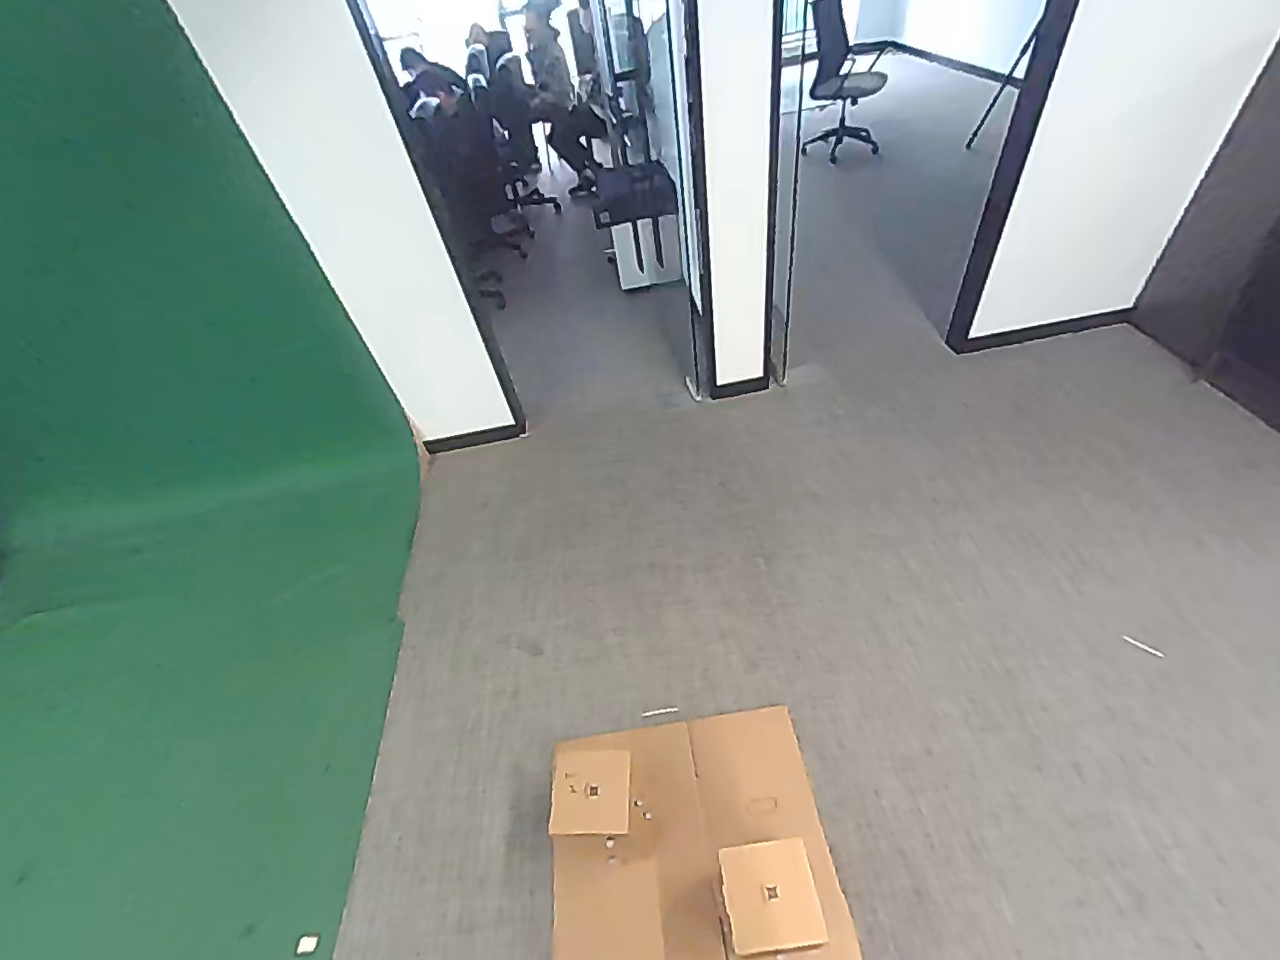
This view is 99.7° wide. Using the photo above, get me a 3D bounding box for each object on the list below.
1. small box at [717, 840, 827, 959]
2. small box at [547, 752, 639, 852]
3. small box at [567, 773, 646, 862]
[{"bbox_3d":[0.257,0.845,1.088,0.179,0.176,0.168,-11,46,2],"label":"small box"},{"bbox_3d":[-0.099,0.742,1.246,0.179,0.176,0.168,-4,45,7],"label":"small box"},{"bbox_3d":[-0.080,0.852,1.369,0.179,0.176,0.168,-4,45,7],"label":"small box"}]
